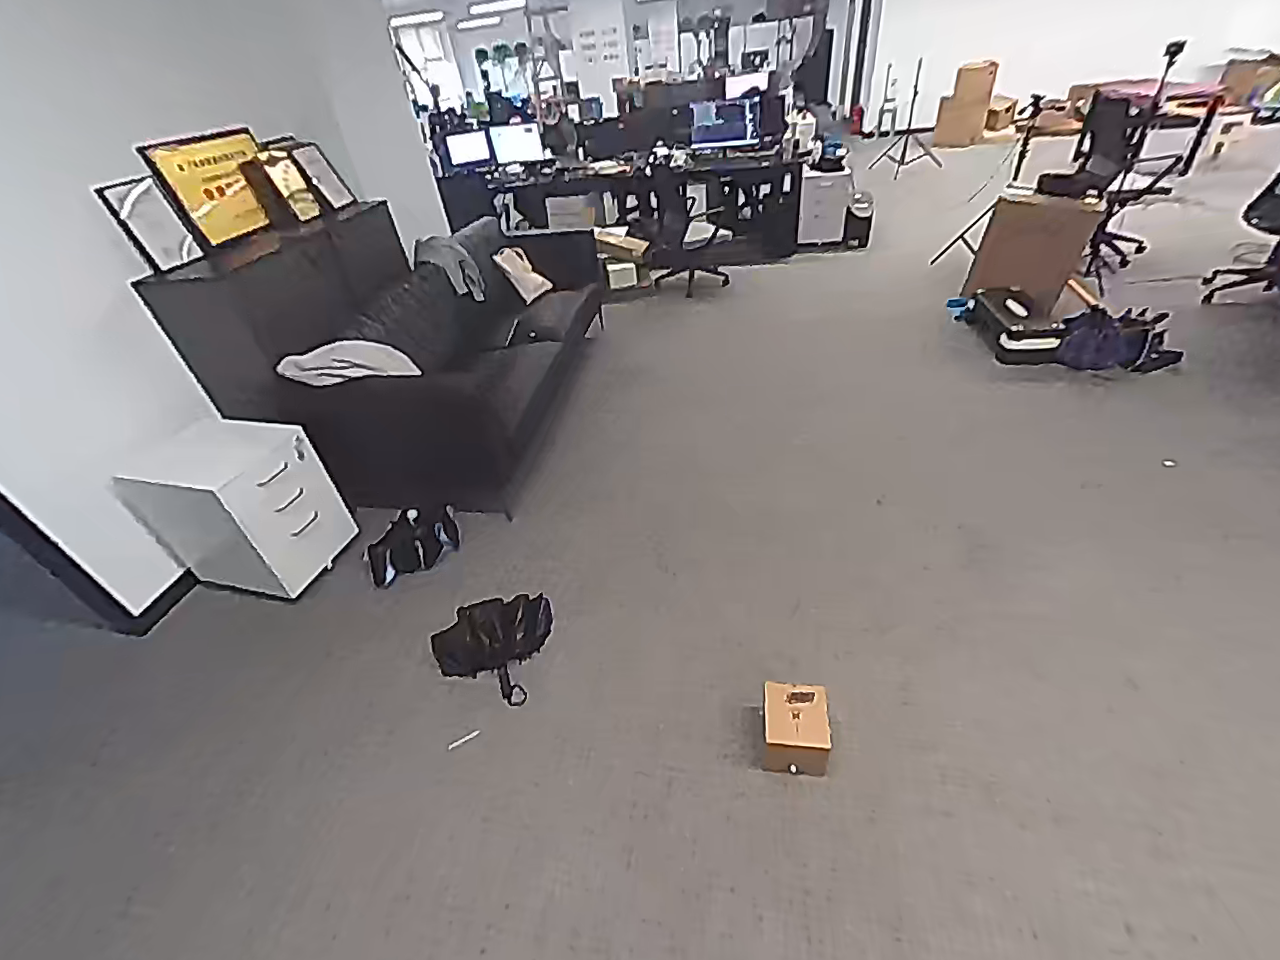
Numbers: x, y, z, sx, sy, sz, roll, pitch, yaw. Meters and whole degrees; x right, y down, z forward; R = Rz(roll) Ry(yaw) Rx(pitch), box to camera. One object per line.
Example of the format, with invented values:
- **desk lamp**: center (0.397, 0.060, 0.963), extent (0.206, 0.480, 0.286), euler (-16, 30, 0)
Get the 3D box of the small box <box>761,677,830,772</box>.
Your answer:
- **small box**: center (0.423, 0.674, 1.493), extent (0.168, 0.176, 0.179), euler (0, 41, 11)
